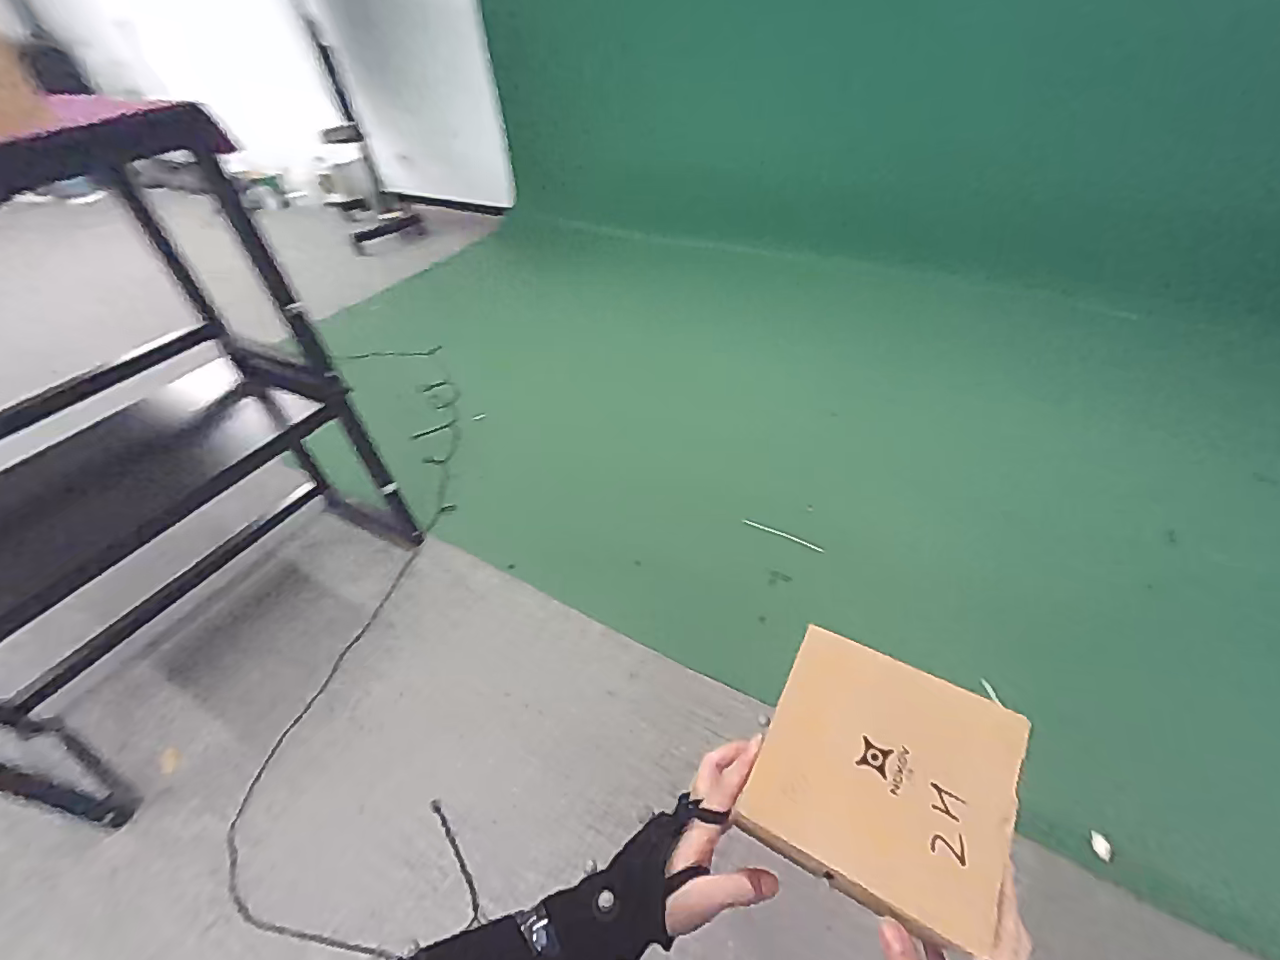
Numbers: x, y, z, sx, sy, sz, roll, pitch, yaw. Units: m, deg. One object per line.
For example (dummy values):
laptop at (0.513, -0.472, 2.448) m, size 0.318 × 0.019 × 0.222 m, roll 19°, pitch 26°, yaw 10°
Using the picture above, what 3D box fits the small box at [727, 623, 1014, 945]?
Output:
small box at (0.188, 0.262, 0.479) m, size 0.179 × 0.176 × 0.168 m, roll 21°, pitch 60°, yaw 22°

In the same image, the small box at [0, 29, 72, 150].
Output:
small box at (-1.246, -0.724, 1.009) m, size 0.168 × 0.176 × 0.179 m, roll 23°, pitch 51°, yaw 27°
